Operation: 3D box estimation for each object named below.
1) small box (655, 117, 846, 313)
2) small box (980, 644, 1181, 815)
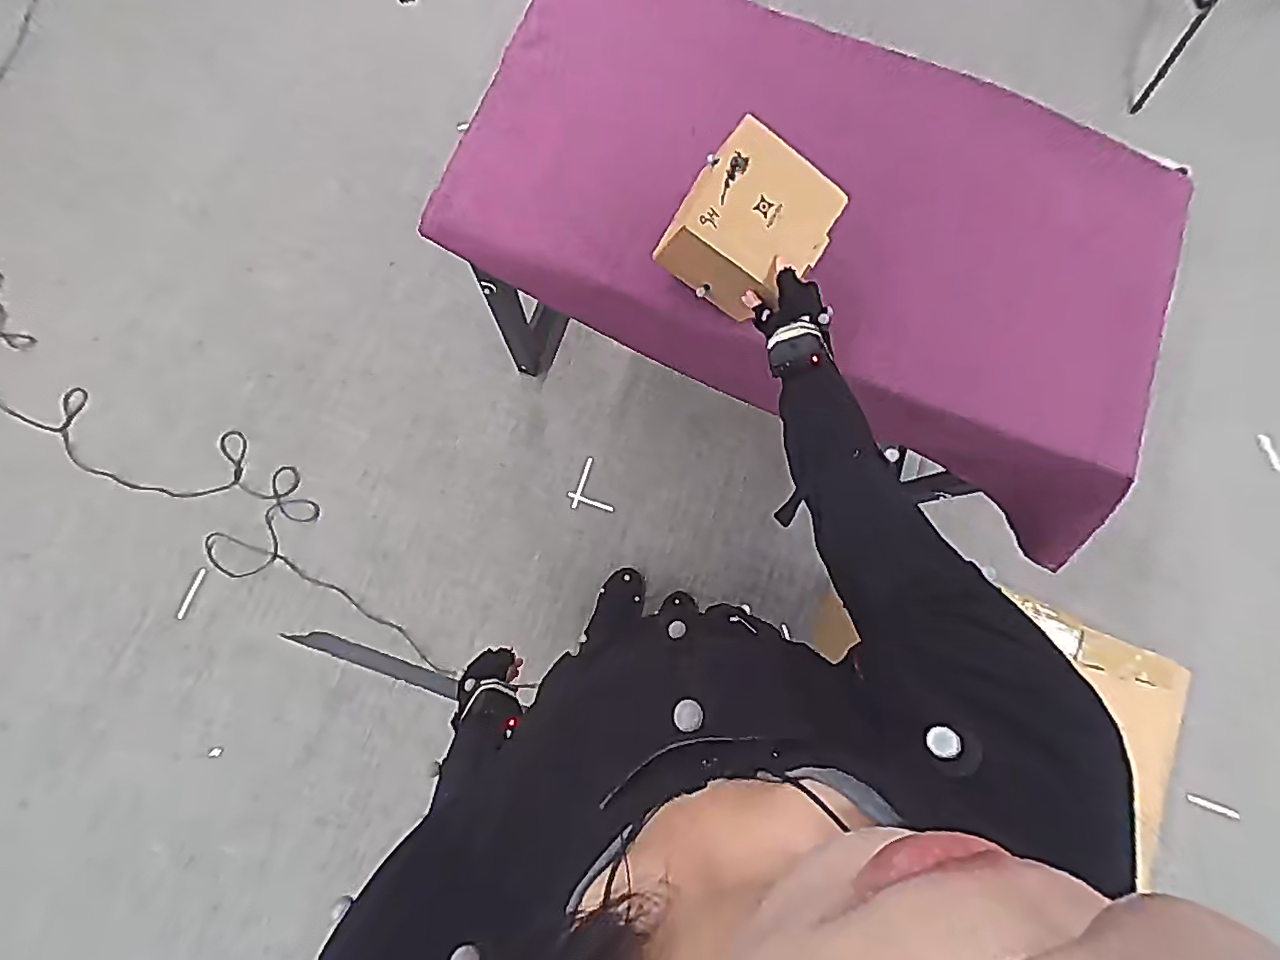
[{"bbox_3d":[0.148,-0.358,0.776,0.179,0.176,0.168,29,90,-15],"label":"small box"},{"bbox_3d":[0.659,0.365,0.828,0.168,0.176,0.179,15,82,1],"label":"small box"}]
